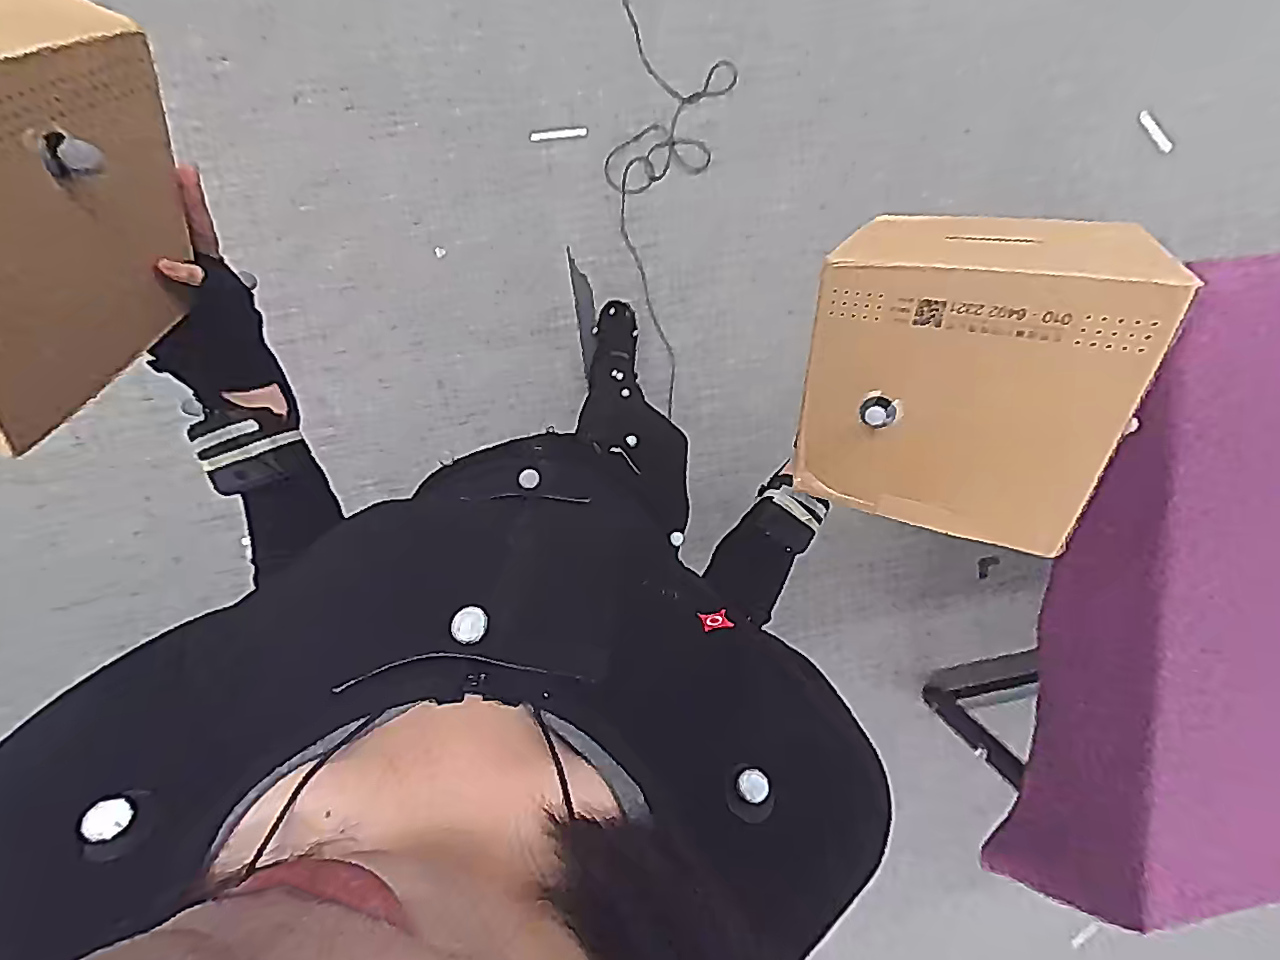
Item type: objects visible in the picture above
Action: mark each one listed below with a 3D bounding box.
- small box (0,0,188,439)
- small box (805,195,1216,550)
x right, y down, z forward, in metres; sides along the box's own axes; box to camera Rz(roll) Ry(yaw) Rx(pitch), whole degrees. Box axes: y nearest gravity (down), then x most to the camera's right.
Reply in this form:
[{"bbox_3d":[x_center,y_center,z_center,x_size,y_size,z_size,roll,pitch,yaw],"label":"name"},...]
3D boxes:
[{"bbox_3d":[-0.357,-0.149,0.240,0.168,0.179,0.176,15,134,-16],"label":"small box"},{"bbox_3d":[0.223,-0.088,0.364,0.168,0.179,0.176,17,129,25],"label":"small box"}]
